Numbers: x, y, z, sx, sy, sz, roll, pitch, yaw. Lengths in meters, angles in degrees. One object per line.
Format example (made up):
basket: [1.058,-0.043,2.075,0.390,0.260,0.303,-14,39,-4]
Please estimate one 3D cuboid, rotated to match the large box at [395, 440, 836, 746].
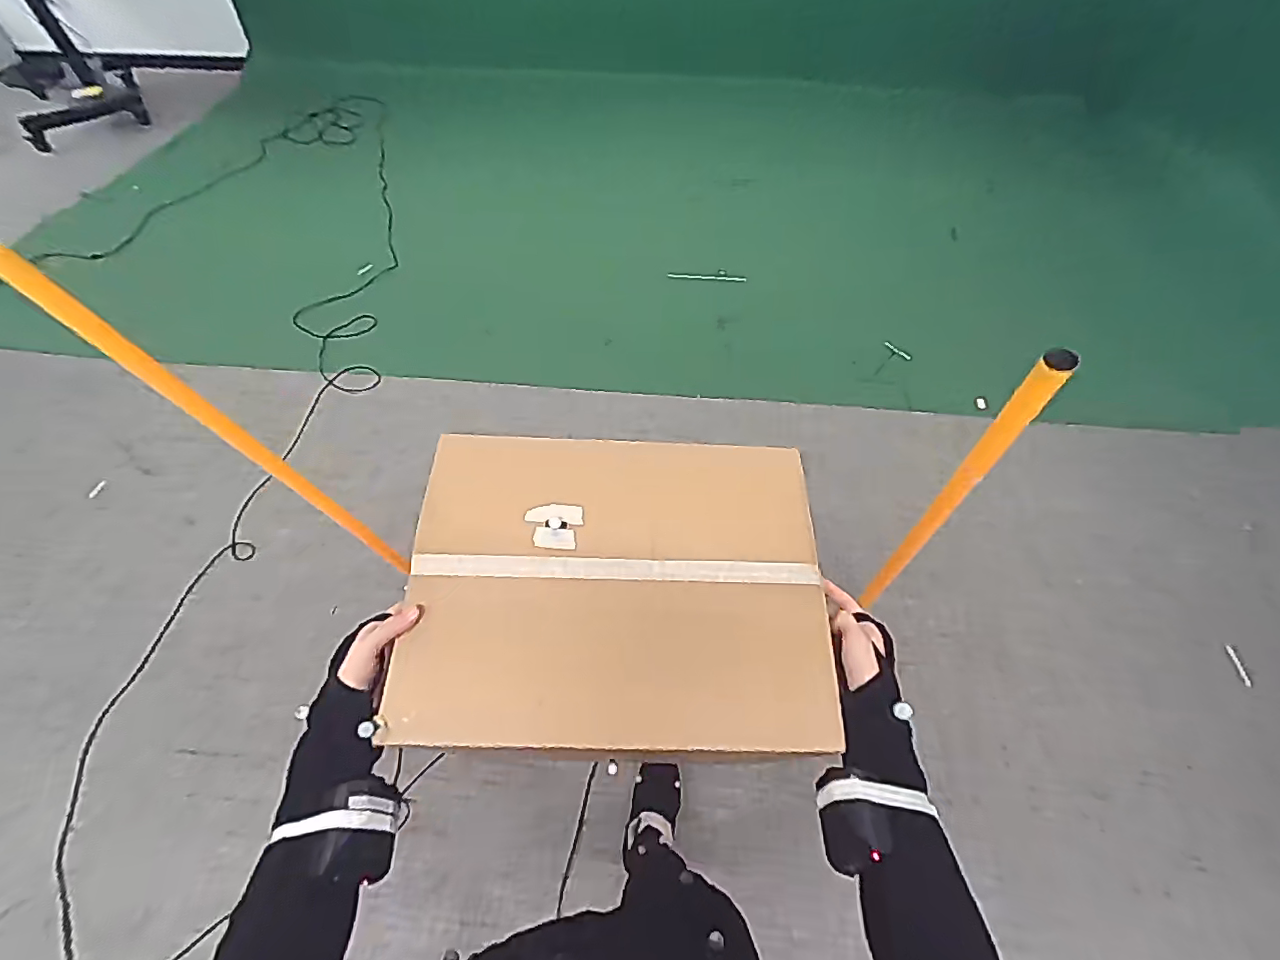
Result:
large box: [-0.023,0.161,0.683,0.408,0.320,0.320,2,60,-1]
